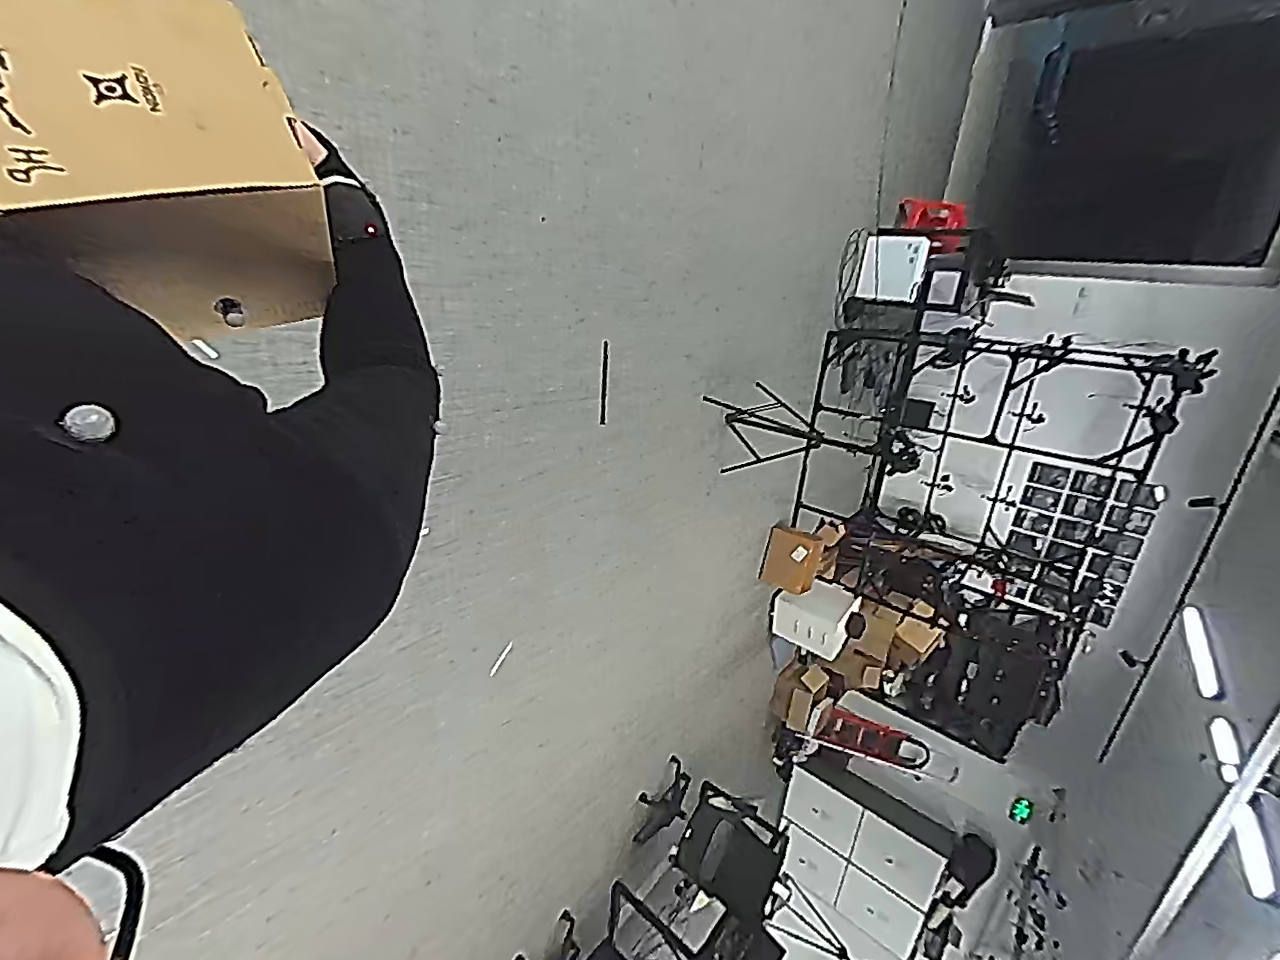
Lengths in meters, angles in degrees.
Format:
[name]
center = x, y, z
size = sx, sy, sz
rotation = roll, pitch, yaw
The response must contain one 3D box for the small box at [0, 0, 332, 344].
[small box]
center = -0.373, -0.237, 0.443
size = 0.179, 0.176, 0.168
rotation = -24, 83, -30
